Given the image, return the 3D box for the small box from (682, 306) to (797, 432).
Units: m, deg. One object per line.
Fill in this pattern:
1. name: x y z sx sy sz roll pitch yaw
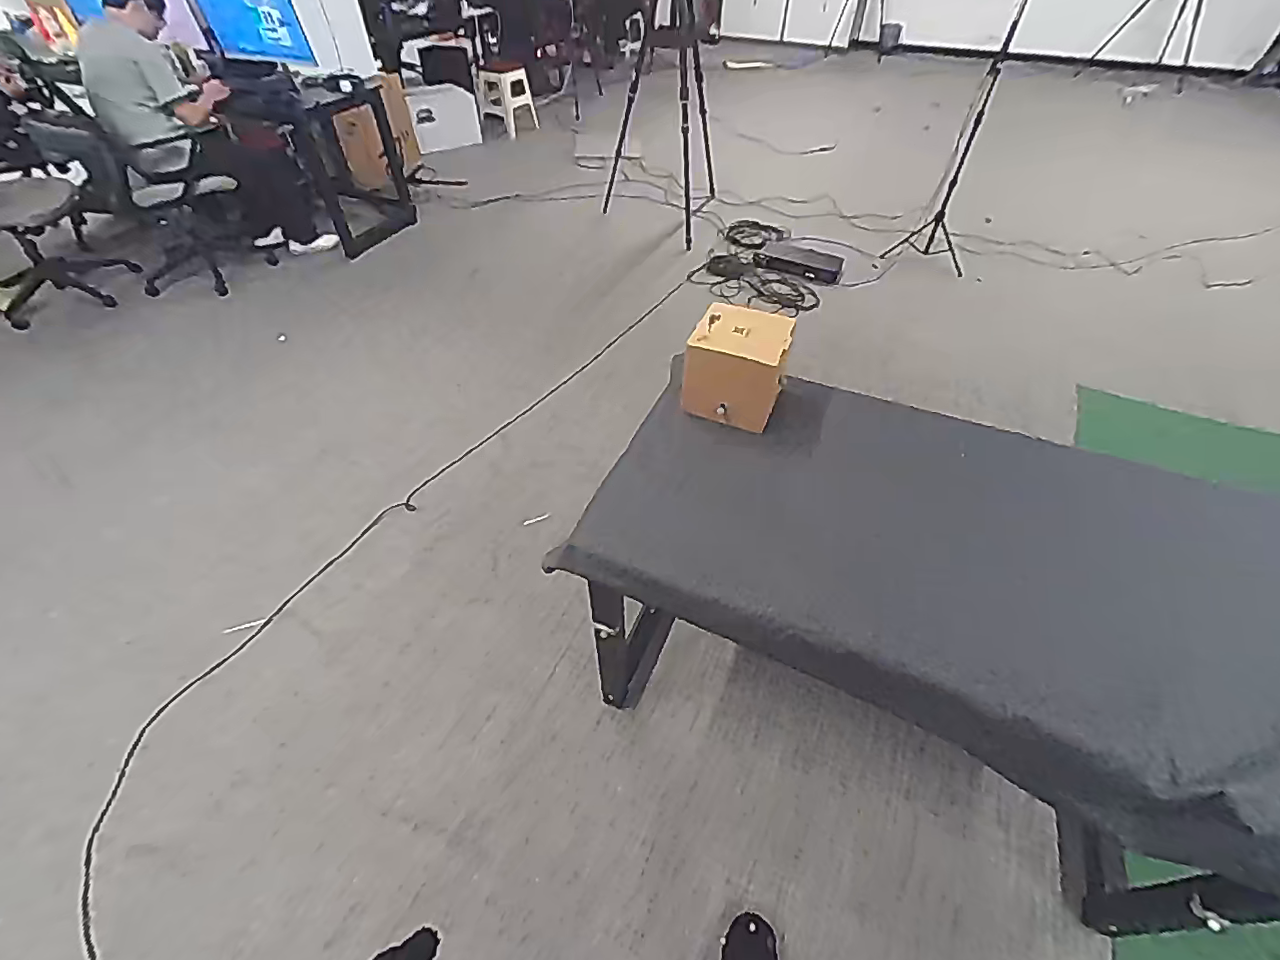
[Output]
1. small box: 0.196 -0.220 1.095 0.179 0.176 0.168 19 51 15
